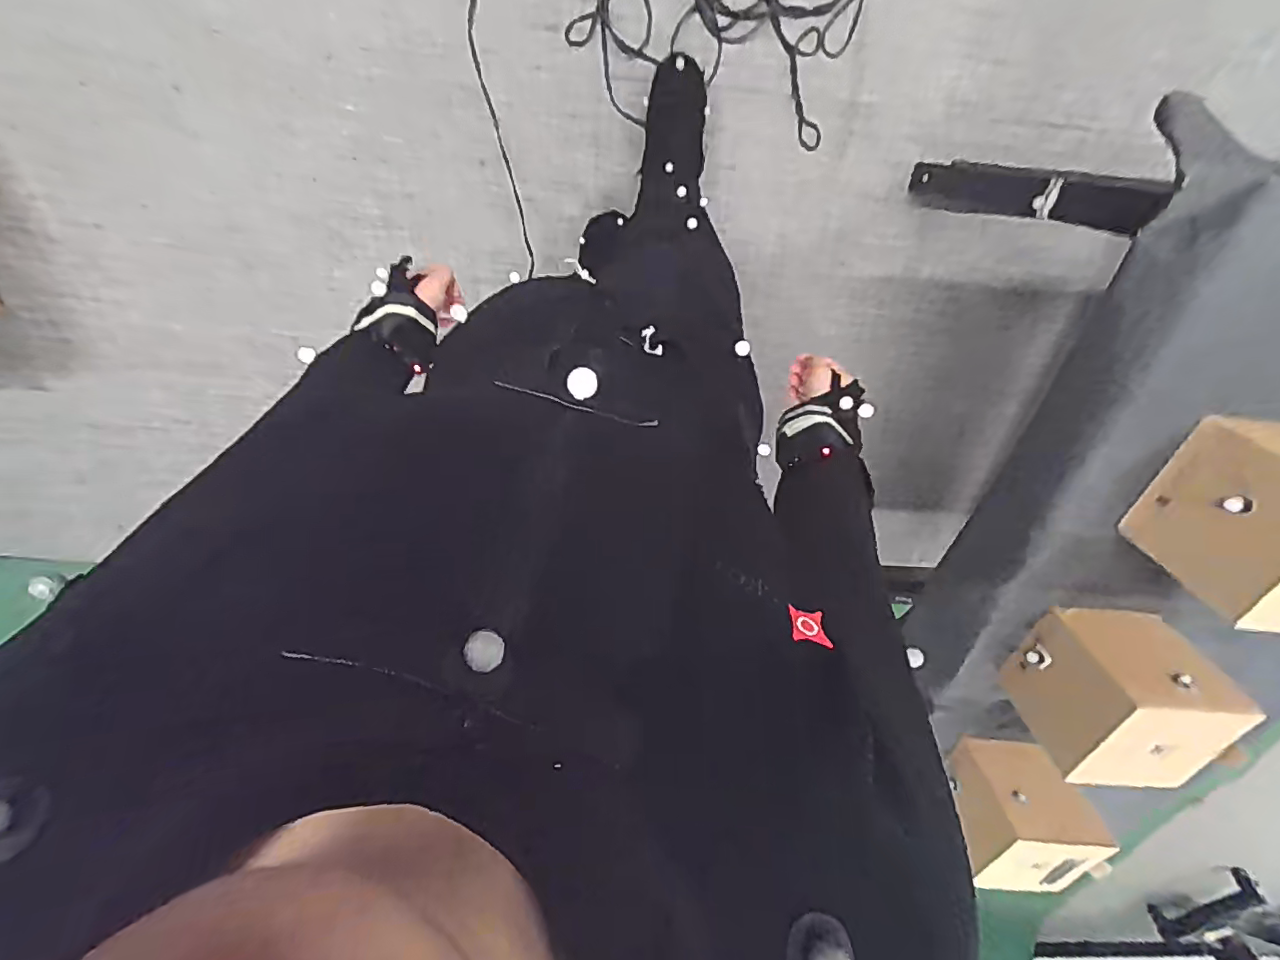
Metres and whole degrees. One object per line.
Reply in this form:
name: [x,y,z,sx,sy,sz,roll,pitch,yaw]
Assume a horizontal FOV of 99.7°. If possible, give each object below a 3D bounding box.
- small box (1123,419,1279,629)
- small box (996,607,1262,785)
small box: [0.703,0.045,0.589,0.179,0.176,0.168,5,123,-6]
small box: [0.656,0.297,0.754,0.179,0.176,0.168,6,122,-5]
